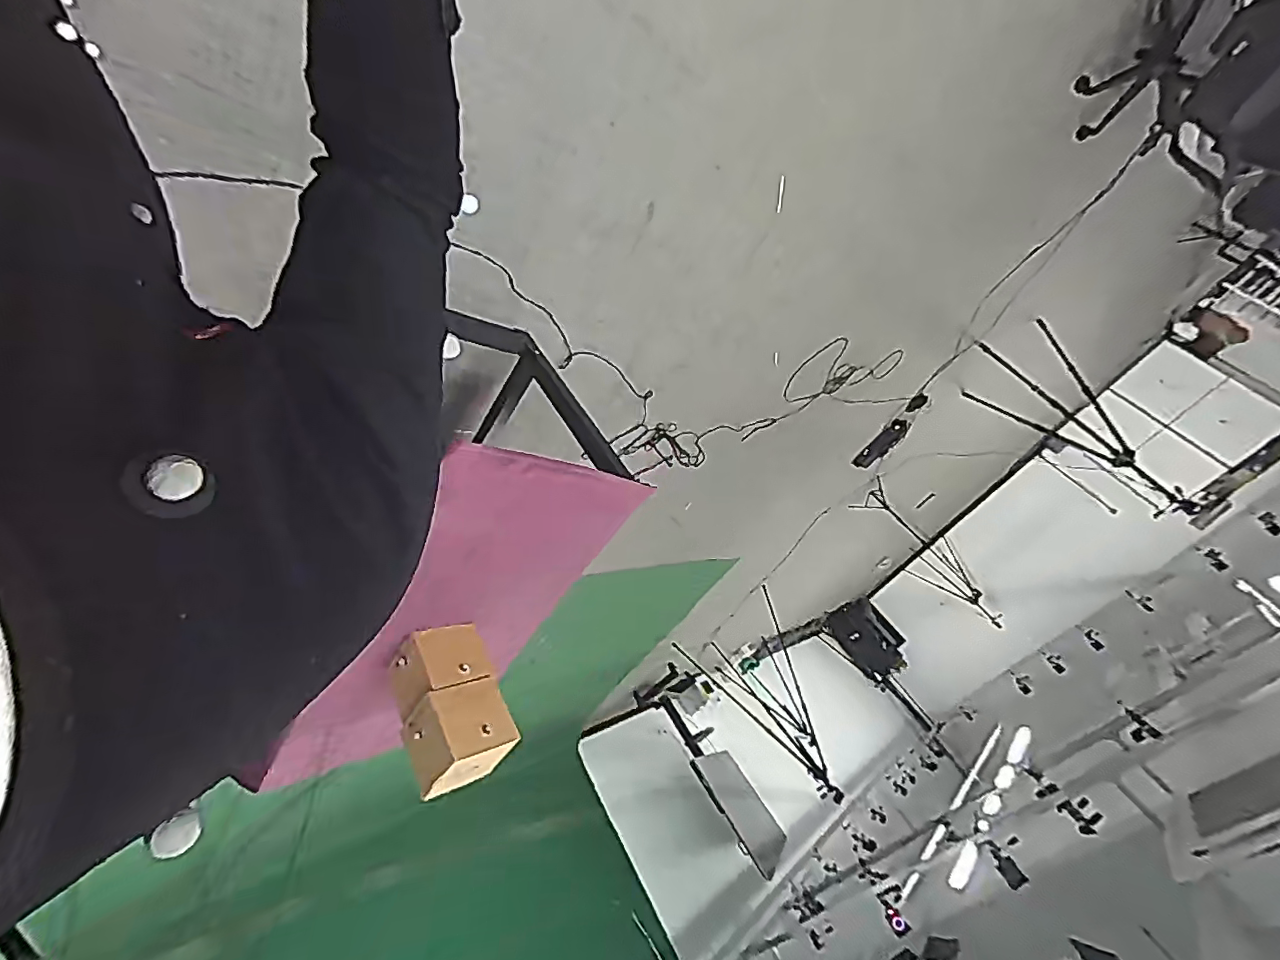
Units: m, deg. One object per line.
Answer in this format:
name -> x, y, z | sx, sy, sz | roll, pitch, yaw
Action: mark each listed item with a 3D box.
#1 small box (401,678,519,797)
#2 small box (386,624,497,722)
small box -> -0.419, 0.585, 1.254 | 0.179, 0.176, 0.168 | 7, 127, -51
small box -> -0.498, 0.477, 1.350 | 0.179, 0.176, 0.168 | 10, 126, -51
